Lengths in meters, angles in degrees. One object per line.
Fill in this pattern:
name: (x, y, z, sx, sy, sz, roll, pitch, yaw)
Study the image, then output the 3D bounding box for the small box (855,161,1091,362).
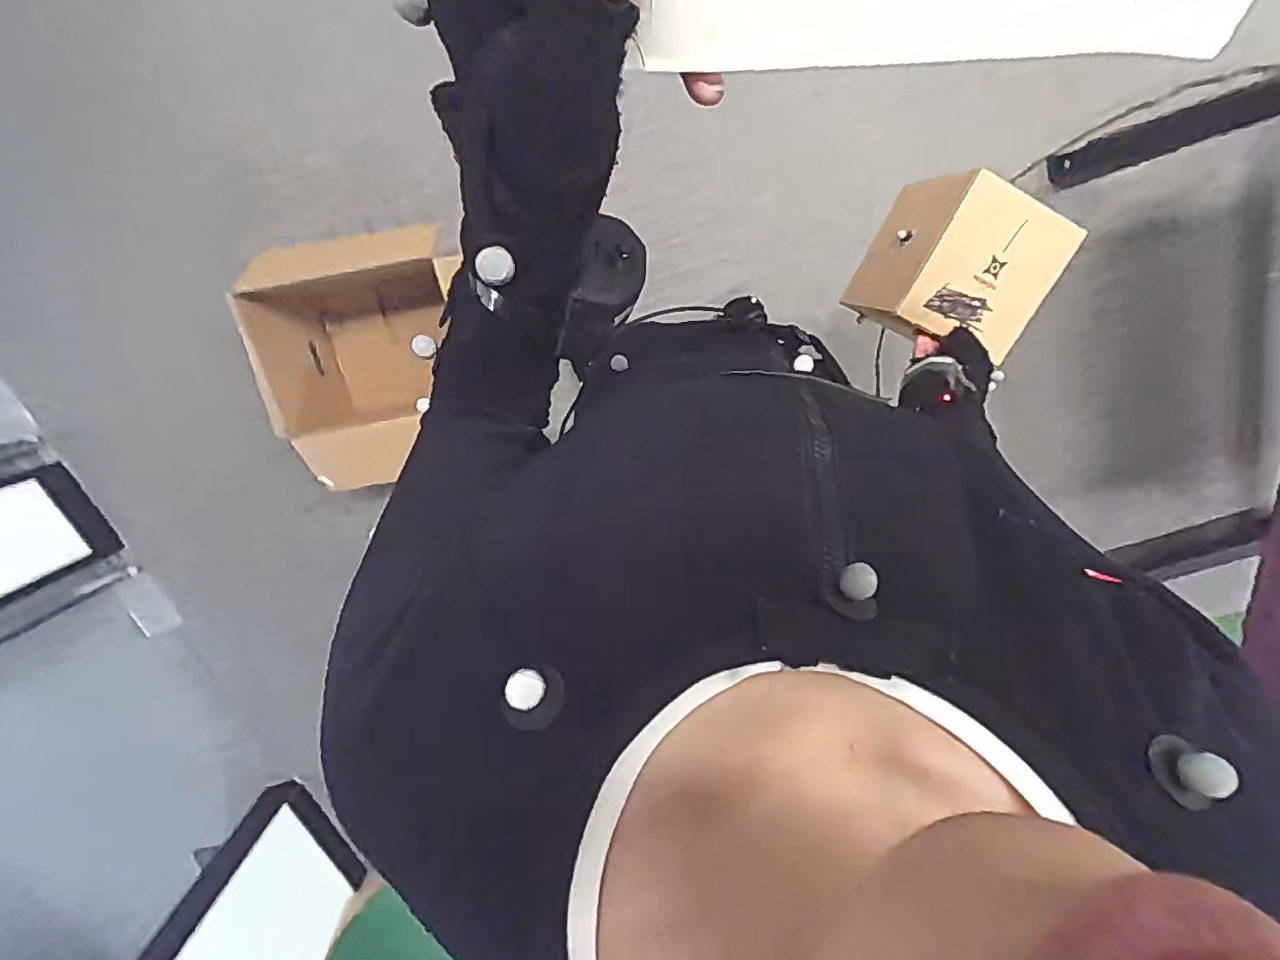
small box: (0.416, -0.282, 0.716, 0.168, 0.176, 0.179, 21, 109, -13)
